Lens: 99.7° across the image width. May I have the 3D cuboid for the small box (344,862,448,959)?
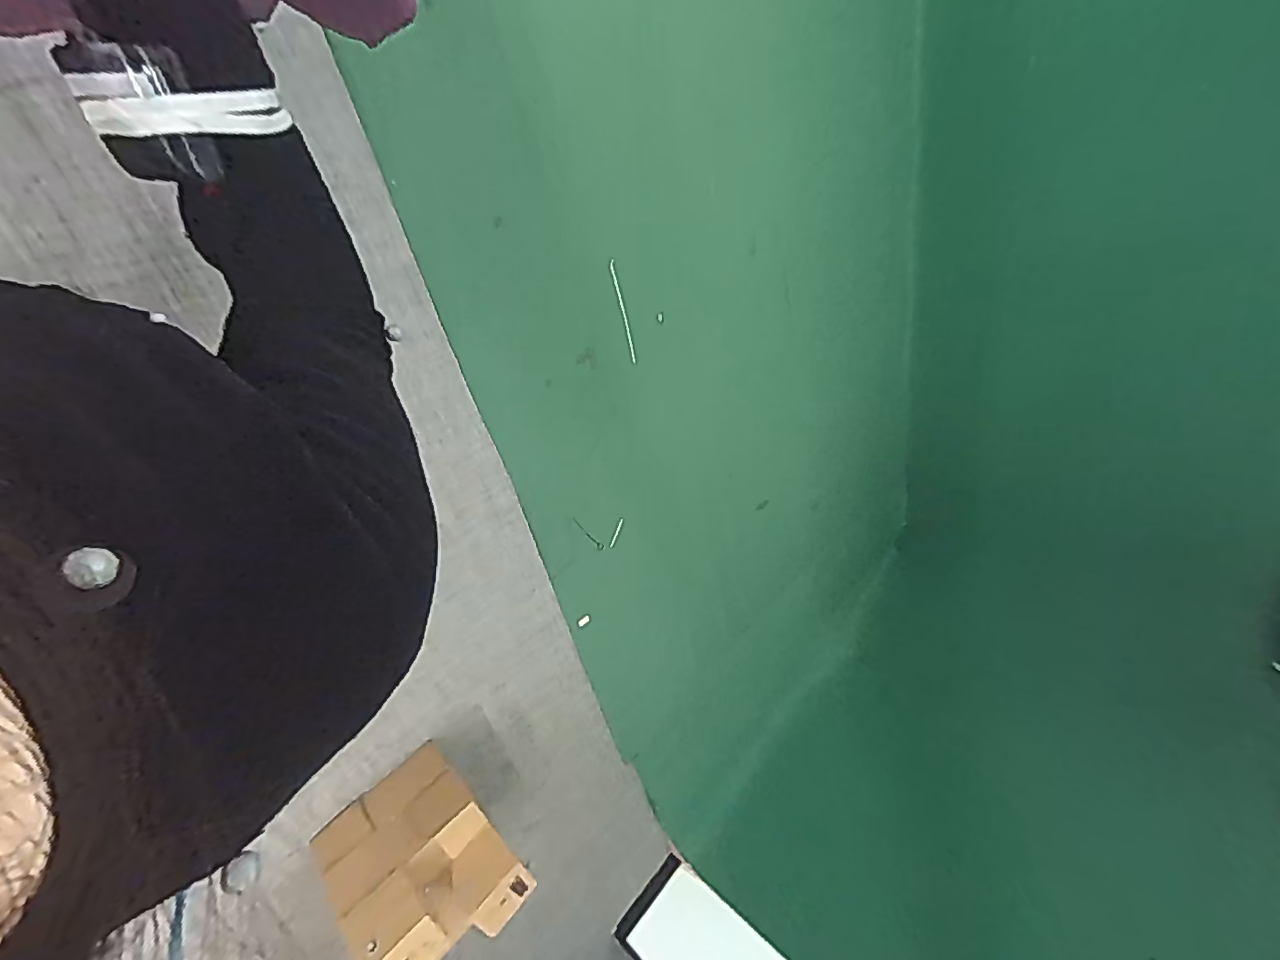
[{"bbox_3d":[-0.636,1.154,1.397,0.179,0.176,0.168,-34,127,-31],"label":"small box"}]
